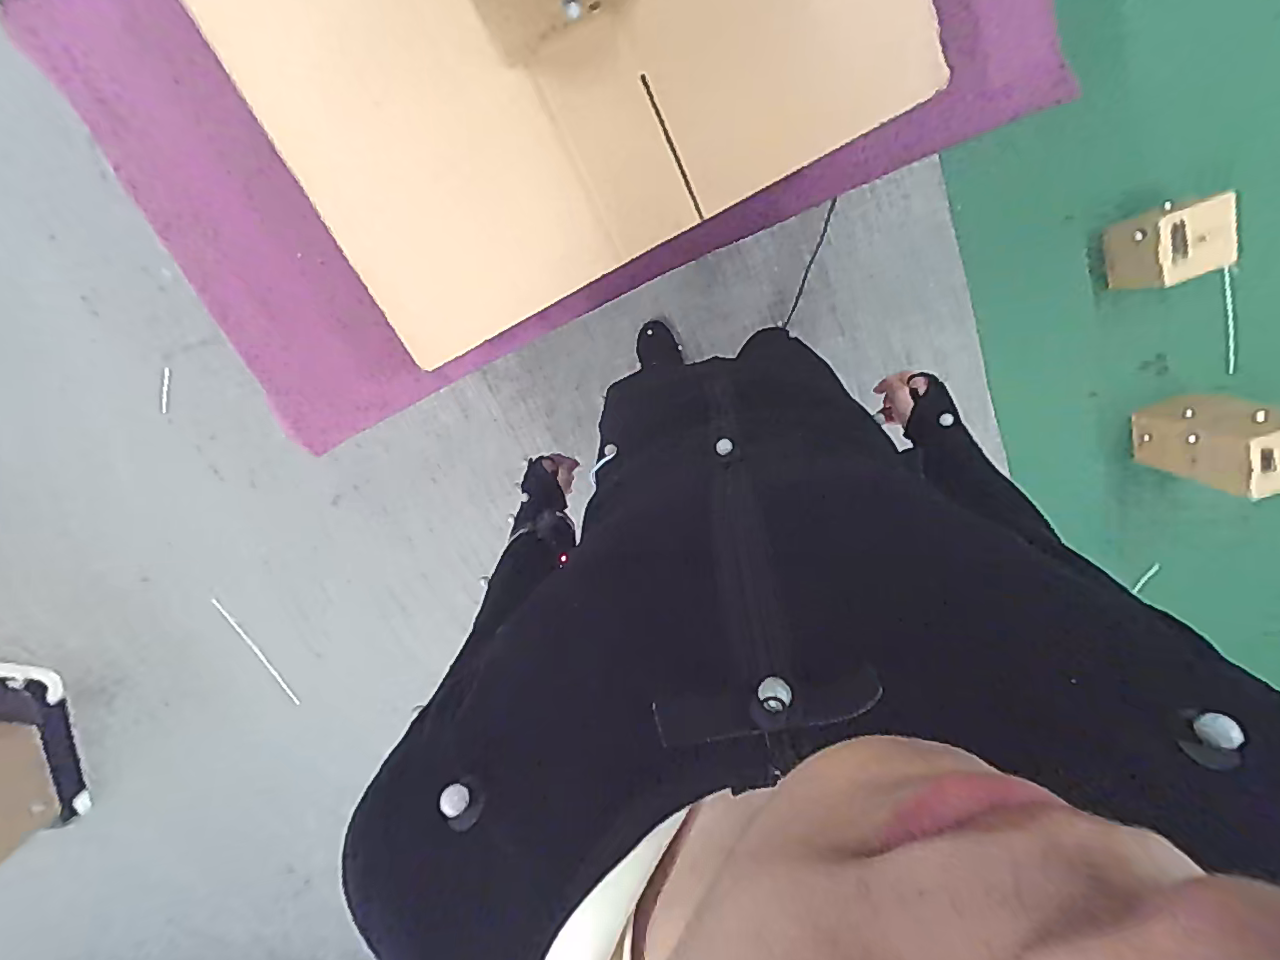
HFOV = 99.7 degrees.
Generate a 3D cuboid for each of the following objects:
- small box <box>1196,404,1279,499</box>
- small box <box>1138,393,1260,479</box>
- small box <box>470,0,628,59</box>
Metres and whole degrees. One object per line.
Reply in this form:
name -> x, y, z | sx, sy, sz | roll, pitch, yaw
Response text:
small box -> 1.560, -0.076, 1.359 | 0.179, 0.176, 0.168 | -20, 109, 7
small box -> 1.560, -0.130, 1.515 | 0.179, 0.176, 0.168 | -21, 108, 7
small box -> -0.099, -0.502, 0.439 | 0.168, 0.176, 0.179 | -25, 107, 7
